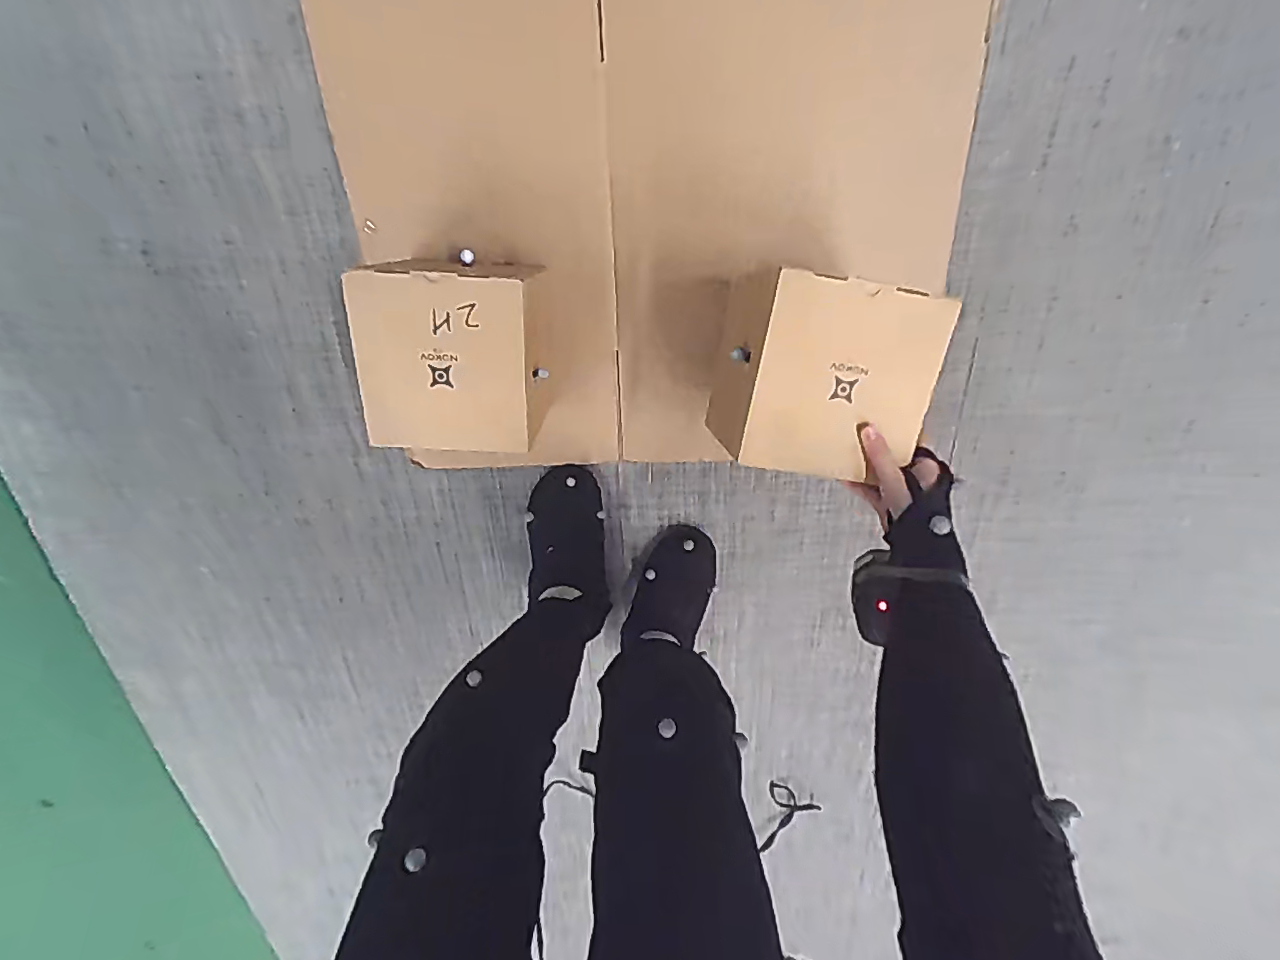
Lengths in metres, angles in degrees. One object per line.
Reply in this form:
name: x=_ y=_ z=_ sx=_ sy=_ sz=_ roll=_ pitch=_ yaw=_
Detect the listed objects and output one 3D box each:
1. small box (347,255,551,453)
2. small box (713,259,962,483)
small box: x=-0.189 y=-0.145 z=0.595 sx=0.168 sy=0.176 sz=0.179 roll=3 pitch=114 yaw=-3
small box: x=0.180 y=-0.114 z=0.556 sx=0.168 sy=0.176 sz=0.179 roll=8 pitch=106 yaw=-6
